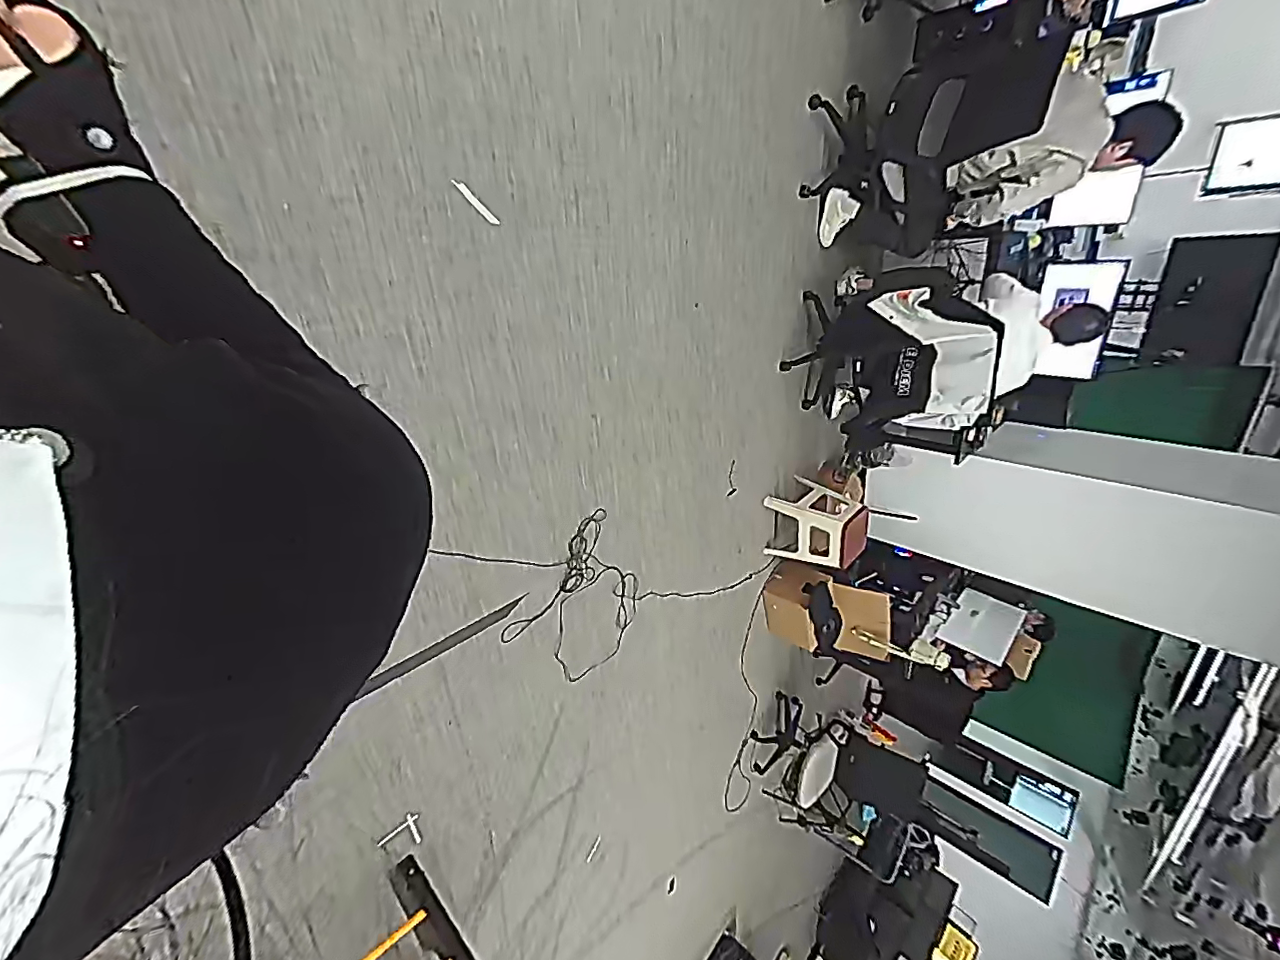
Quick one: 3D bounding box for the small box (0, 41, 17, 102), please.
[{"bbox_3d":[-0.743,-0.459,0.498,0.179,0.176,0.168,-28,124,-39],"label":"small box"}]
